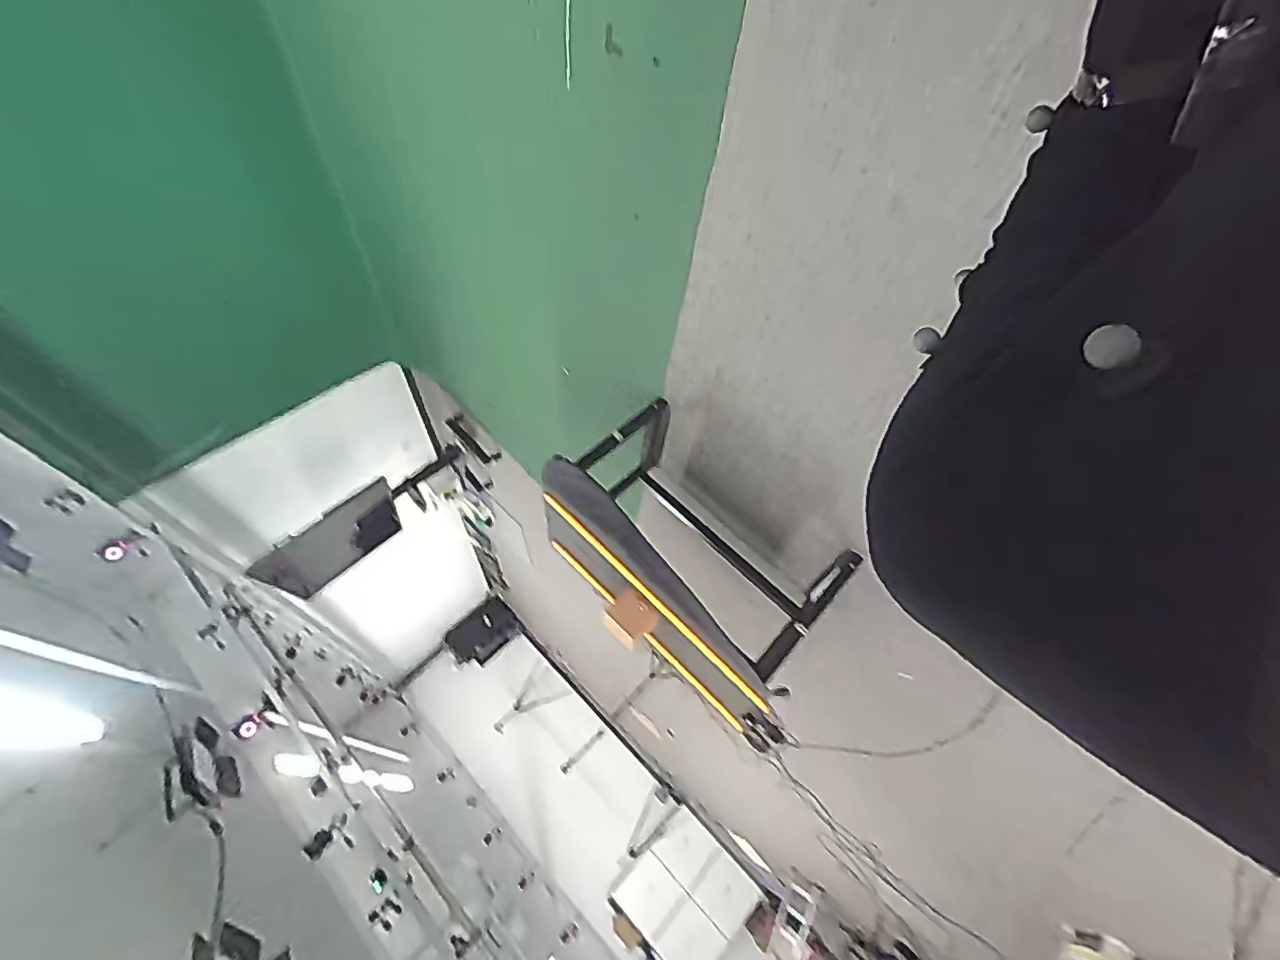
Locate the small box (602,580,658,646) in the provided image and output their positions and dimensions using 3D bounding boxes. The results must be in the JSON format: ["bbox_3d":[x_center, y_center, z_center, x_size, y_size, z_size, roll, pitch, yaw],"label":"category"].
[{"bbox_3d":[-0.042,0.553,2.254,0.168,0.176,0.179,39,151,19],"label":"small box"}]
